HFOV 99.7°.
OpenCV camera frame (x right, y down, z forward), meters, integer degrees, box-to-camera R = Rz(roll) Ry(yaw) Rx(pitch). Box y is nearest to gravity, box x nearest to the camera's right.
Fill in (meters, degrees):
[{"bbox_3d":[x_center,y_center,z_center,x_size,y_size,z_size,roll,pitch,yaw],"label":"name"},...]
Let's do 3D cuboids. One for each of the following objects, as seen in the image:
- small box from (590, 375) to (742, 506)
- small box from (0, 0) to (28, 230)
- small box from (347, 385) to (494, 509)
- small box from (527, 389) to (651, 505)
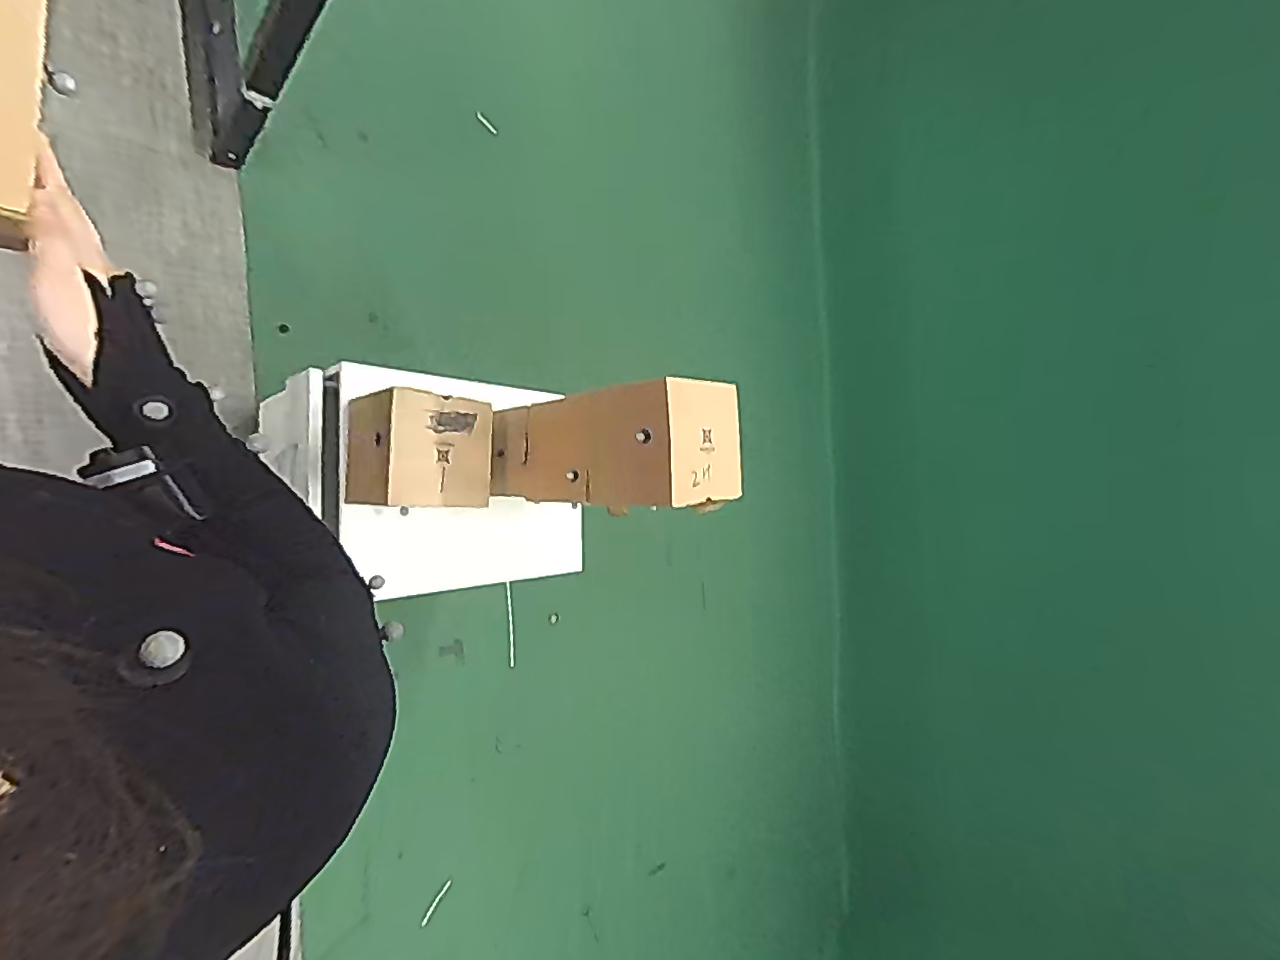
[{"bbox_3d":[0.037,-0.054,0.818,0.168,0.176,0.179,-5,94,-46],"label":"small box"},{"bbox_3d":[-0.397,-0.229,0.238,0.168,0.176,0.179,1,99,-51],"label":"small box"},{"bbox_3d":[-0.356,-0.043,0.875,0.168,0.176,0.179,5,87,-48],"label":"small box"},{"bbox_3d":[-0.079,-0.047,0.935,0.168,0.176,0.179,5,86,-47],"label":"small box"}]
